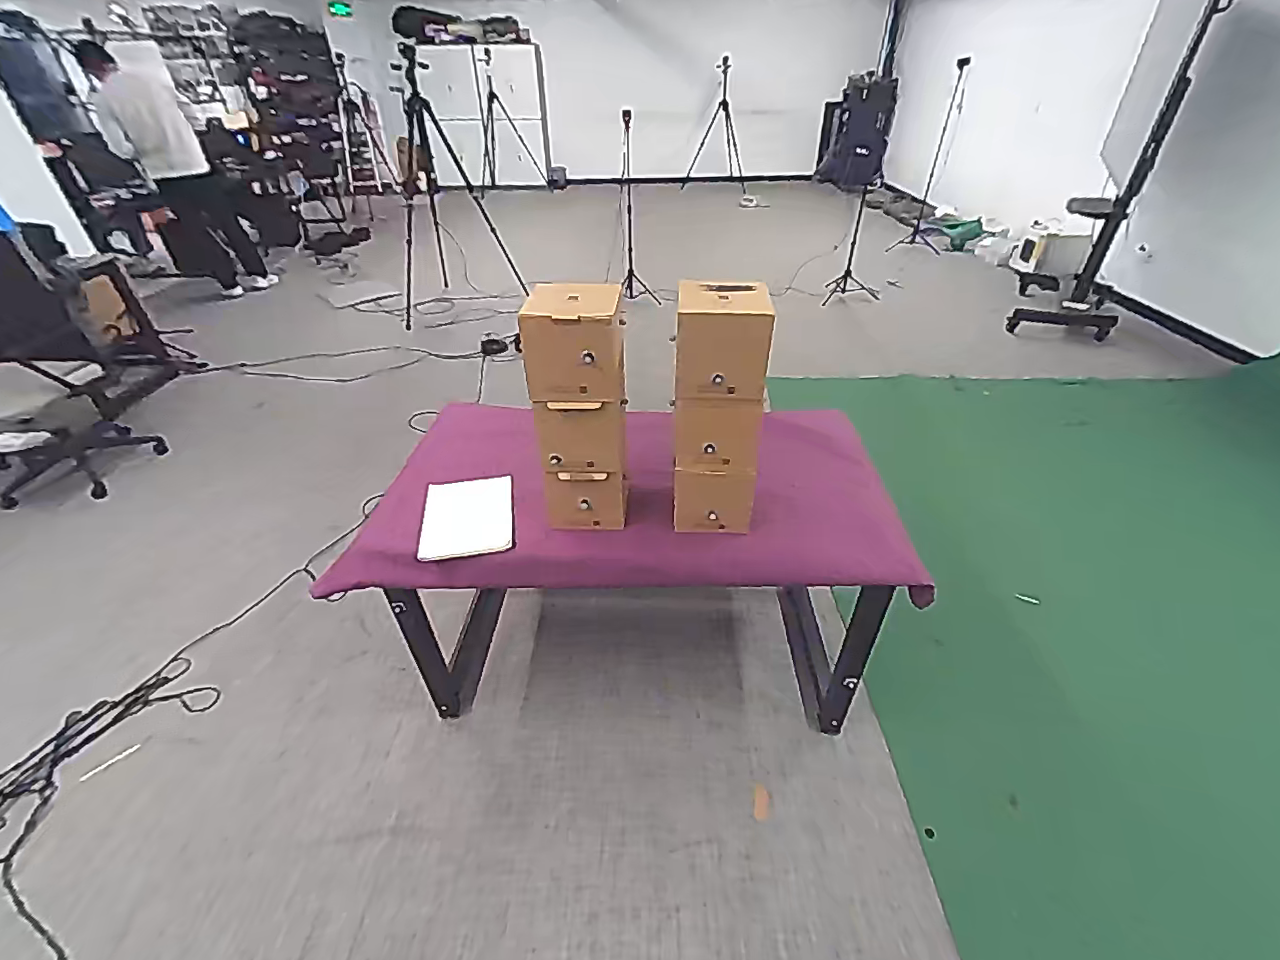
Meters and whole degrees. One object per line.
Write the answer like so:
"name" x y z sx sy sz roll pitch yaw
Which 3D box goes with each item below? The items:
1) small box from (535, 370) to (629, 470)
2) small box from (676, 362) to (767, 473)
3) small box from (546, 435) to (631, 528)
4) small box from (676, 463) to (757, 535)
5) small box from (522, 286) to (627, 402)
"small box" -0.112 -0.133 1.133 0.168 0.176 0.179 1 36 3
"small box" 0.161 -0.132 1.128 0.168 0.176 0.179 2 37 3
"small box" -0.109 -0.005 1.238 0.168 0.176 0.179 2 38 3
"small box" 0.165 0.003 1.219 0.168 0.176 0.179 0 36 4
"small box" -0.113 -0.261 1.032 0.168 0.176 0.179 2 37 3
